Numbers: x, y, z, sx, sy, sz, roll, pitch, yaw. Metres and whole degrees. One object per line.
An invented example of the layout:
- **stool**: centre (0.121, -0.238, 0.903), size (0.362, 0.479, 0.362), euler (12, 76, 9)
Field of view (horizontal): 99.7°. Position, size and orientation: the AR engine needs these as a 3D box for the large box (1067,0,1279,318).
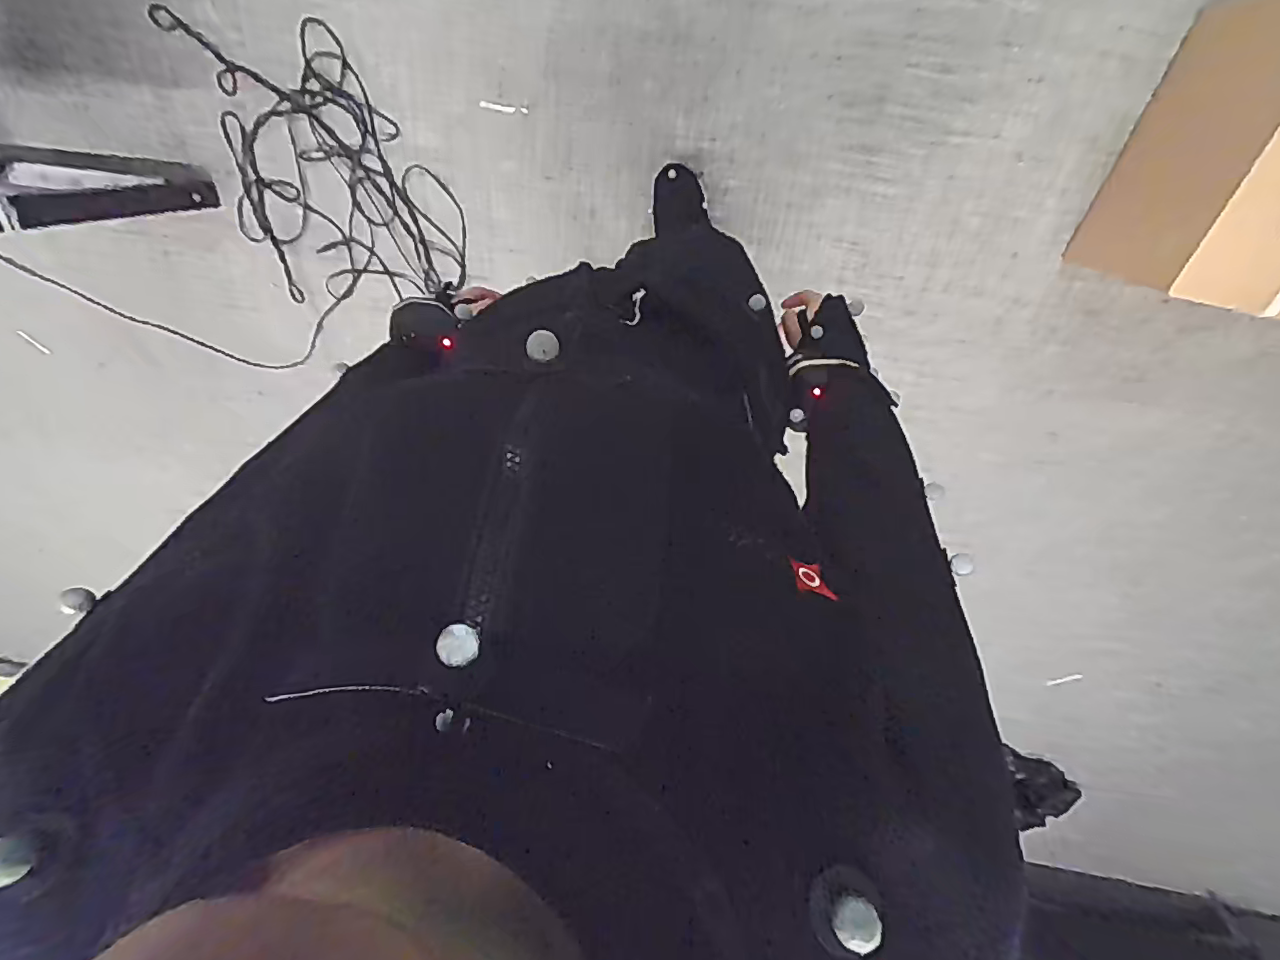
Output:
- **large box**: centre (1.007, -0.500, 0.851), size (0.320, 0.320, 0.408), euler (12, 123, 2)
